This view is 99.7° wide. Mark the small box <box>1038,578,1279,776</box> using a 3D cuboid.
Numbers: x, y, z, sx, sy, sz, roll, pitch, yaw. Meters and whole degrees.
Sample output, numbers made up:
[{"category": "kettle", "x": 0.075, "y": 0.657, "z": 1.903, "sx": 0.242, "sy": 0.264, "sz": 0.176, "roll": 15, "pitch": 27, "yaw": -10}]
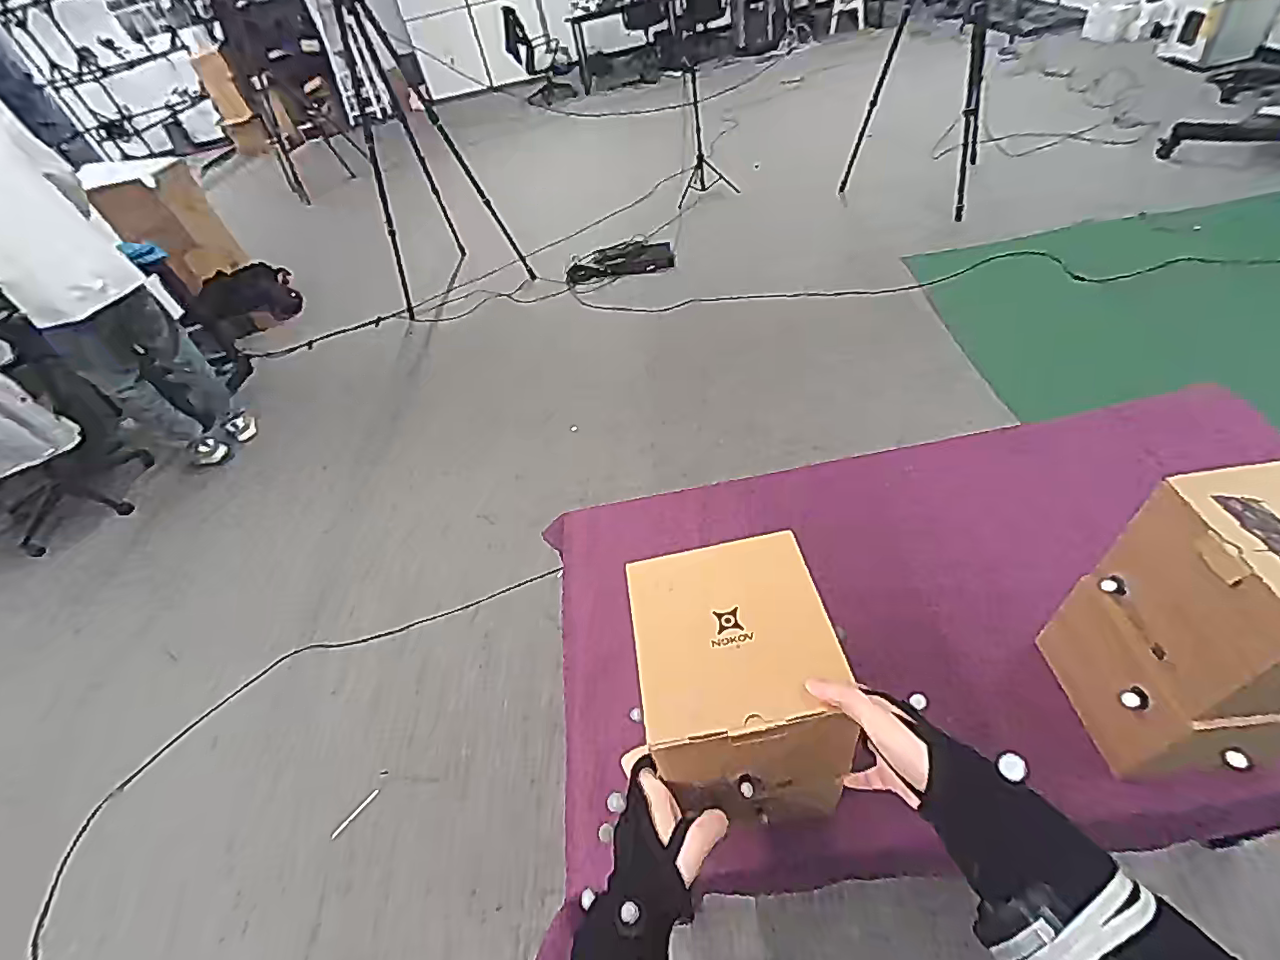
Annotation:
[{"category": "small box", "x": 0.608, "y": 0.222, "z": 0.617, "sx": 0.168, "sy": 0.176, "sz": 0.179, "roll": -8, "pitch": 46, "yaw": 5}]

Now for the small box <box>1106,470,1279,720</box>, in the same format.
[{"category": "small box", "x": 0.587, "y": 0.108, "z": 0.500, "sx": 0.179, "sy": 0.176, "sz": 0.168, "roll": -8, "pitch": 46, "yaw": 5}]
